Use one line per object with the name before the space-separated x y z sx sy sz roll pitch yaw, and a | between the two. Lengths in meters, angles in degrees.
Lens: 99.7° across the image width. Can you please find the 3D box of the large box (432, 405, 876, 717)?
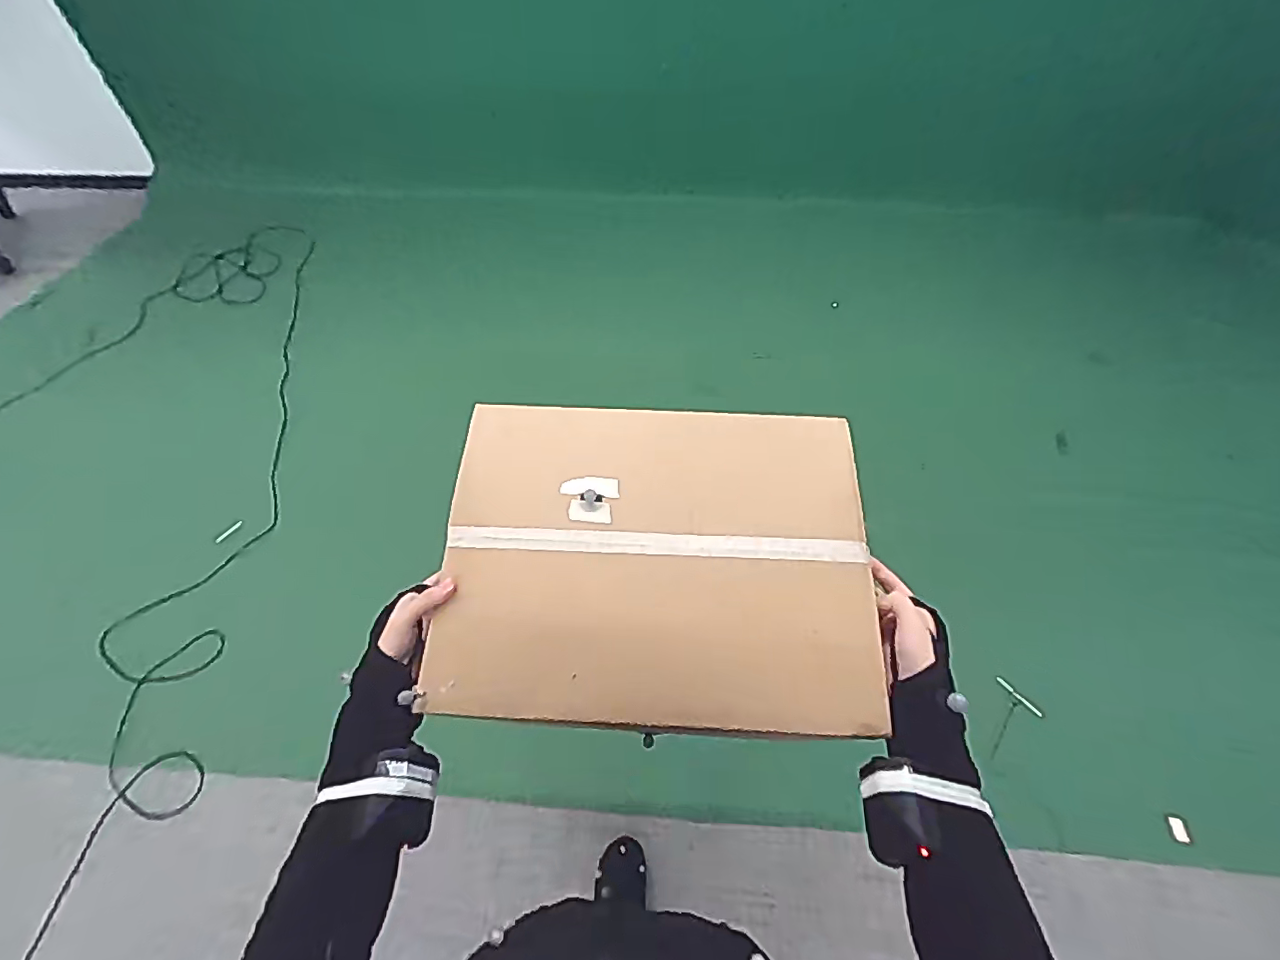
large box | 0.021 0.120 0.674 0.408 0.320 0.320 2 65 3
